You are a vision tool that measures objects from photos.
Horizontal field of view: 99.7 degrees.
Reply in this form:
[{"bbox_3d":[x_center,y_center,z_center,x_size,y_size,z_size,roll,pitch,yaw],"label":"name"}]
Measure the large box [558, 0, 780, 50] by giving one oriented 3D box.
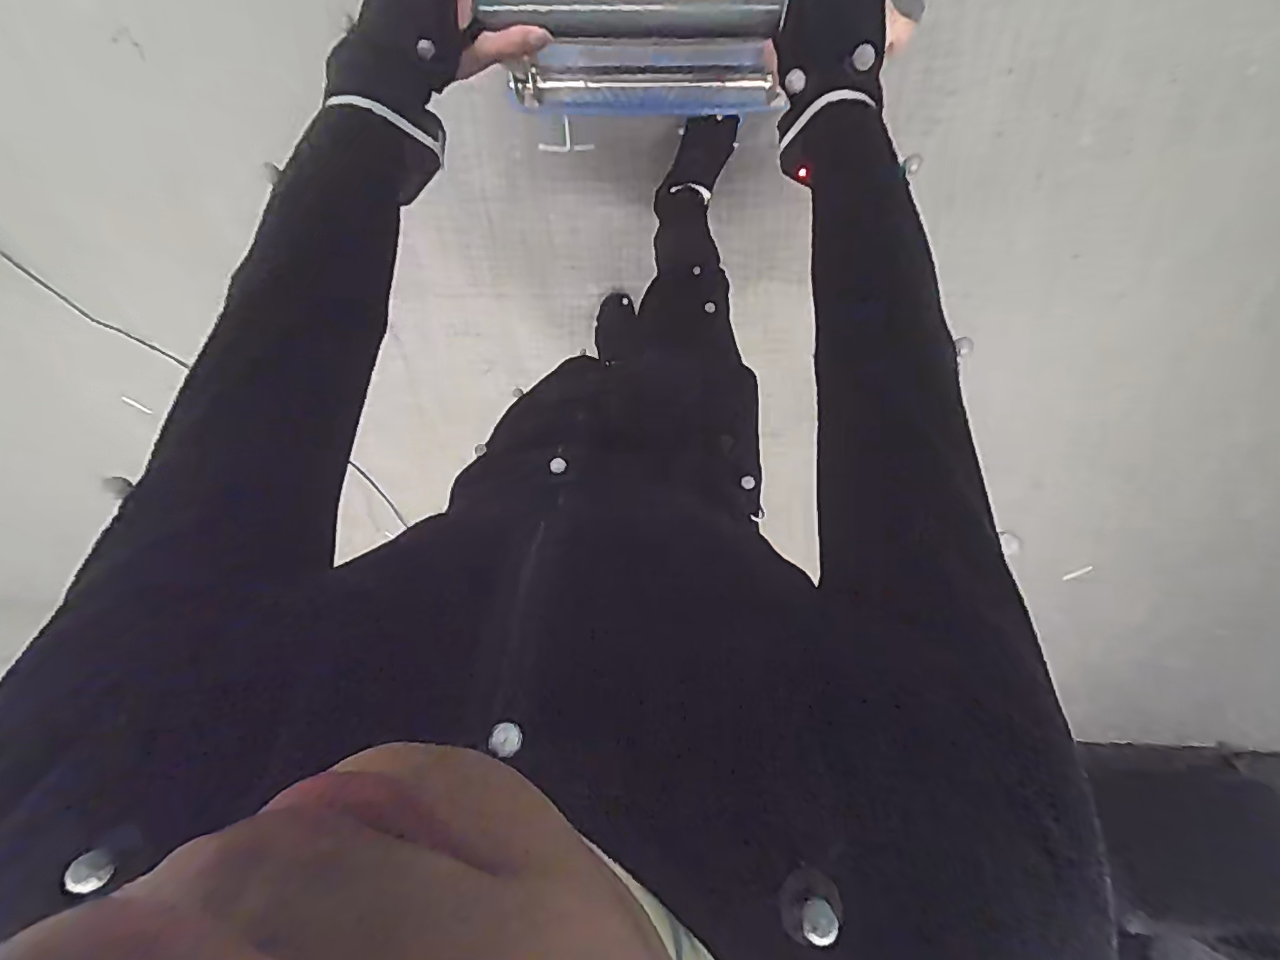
[{"bbox_3d":[0.044,-0.892,0.772,0.320,0.320,0.408,1,123,2],"label":"large box"}]
